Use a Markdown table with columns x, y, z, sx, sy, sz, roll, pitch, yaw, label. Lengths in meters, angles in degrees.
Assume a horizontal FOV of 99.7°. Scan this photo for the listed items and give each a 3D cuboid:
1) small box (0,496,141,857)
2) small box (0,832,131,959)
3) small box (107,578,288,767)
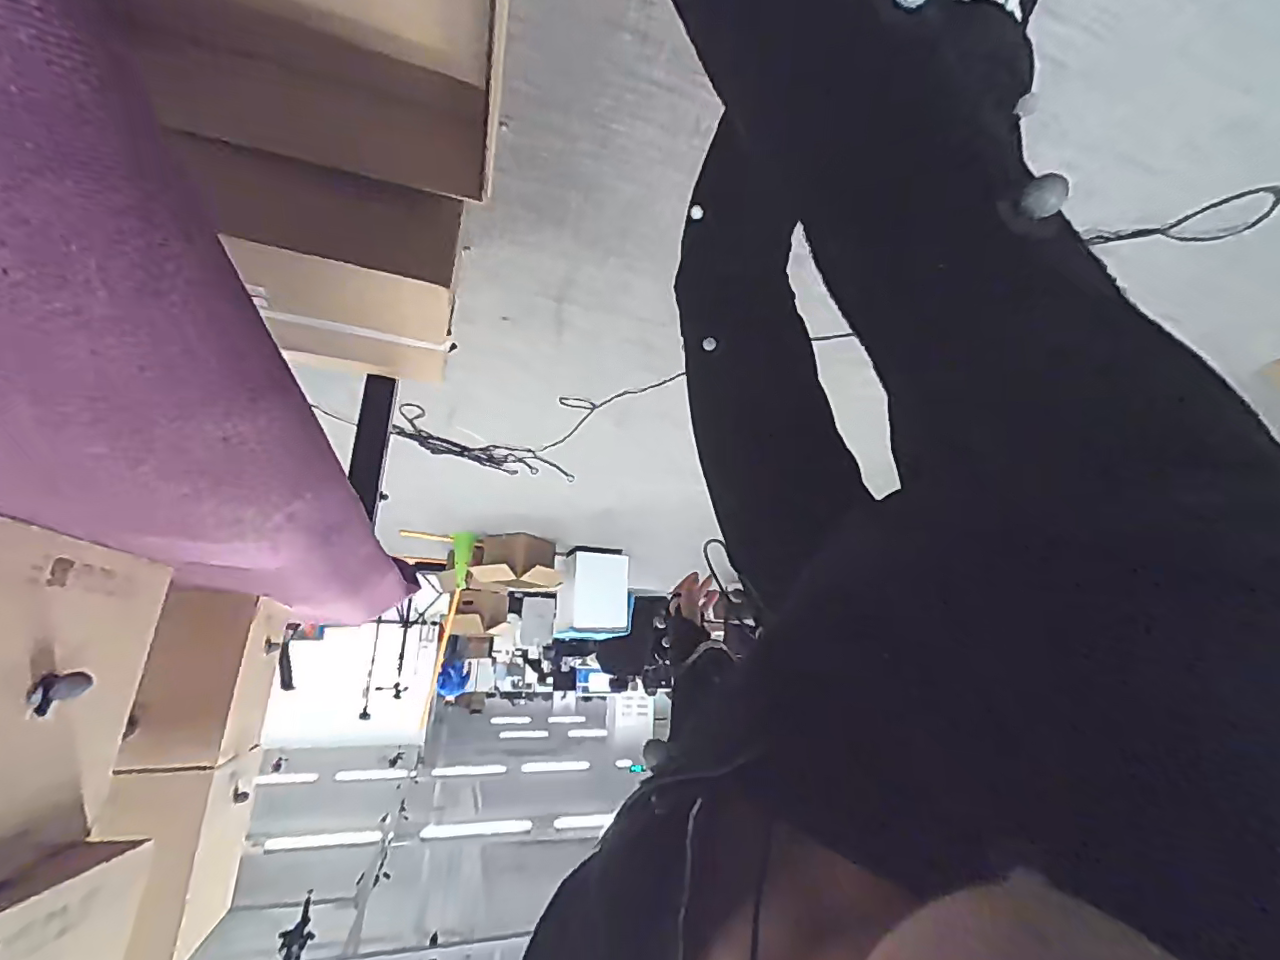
| x | y | z | sx | sy | sz | roll | pitch | yaw | label |
| --- | --- | --- | --- | --- | --- | --- | --- | --- | --- |
| -0.385 | 0.092 | 0.250 | 0.179 | 0.176 | 0.168 | 6 | 160 | -14 | small box |
| -0.368 | 0.253 | 0.210 | 0.179 | 0.176 | 0.168 | 4 | 162 | -8 | small box |
| -0.503 | 0.196 | 0.569 | 0.179 | 0.176 | 0.168 | 7 | 160 | -20 | small box |
